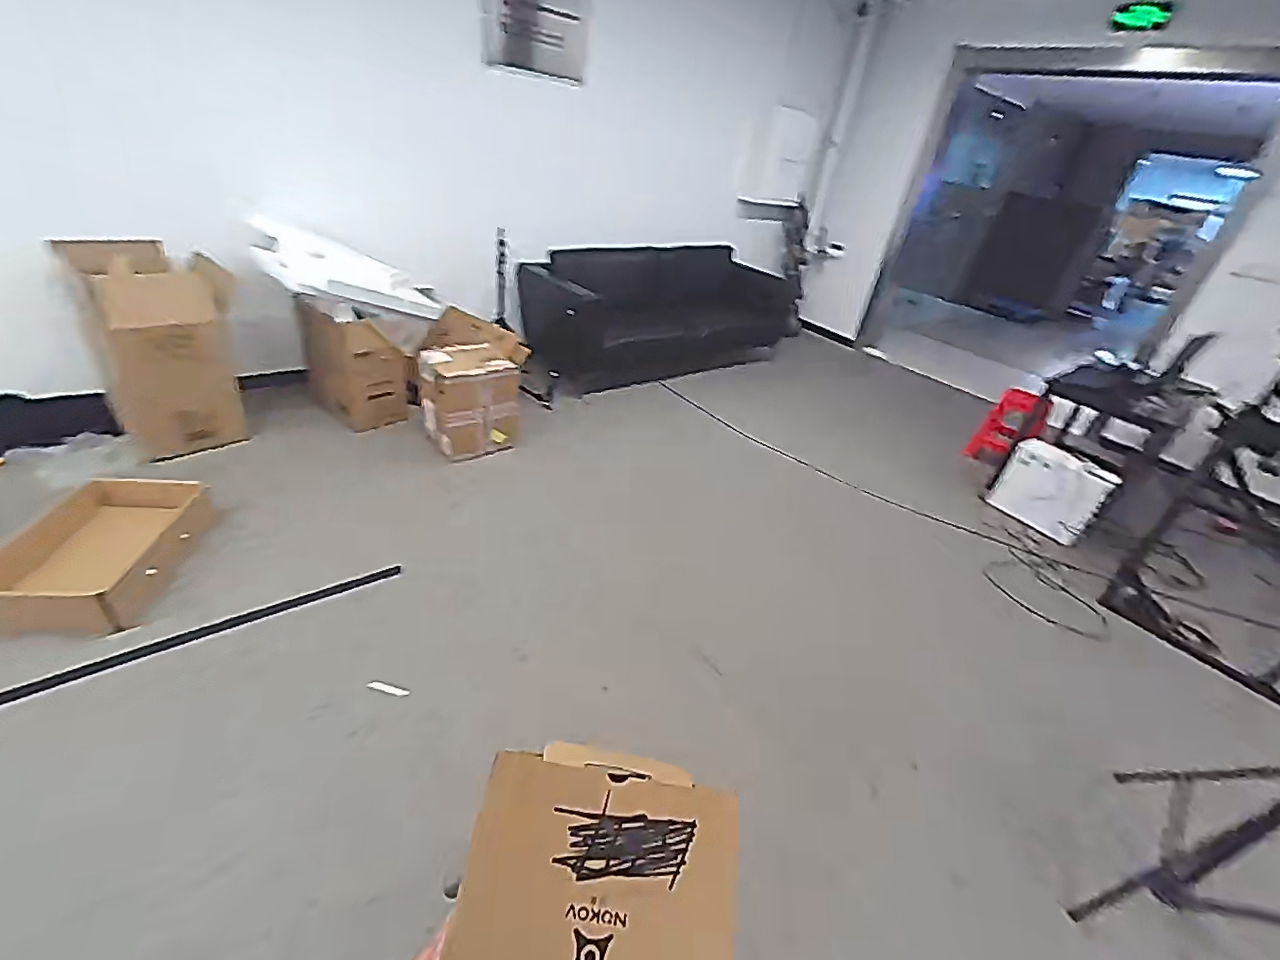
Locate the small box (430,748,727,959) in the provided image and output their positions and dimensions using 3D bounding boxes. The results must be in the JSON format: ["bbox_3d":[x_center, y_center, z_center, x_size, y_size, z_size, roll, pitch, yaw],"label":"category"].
[{"bbox_3d":[-0.047,0.307,0.365,0.168,0.176,0.179,12,50,-4],"label":"small box"}]
